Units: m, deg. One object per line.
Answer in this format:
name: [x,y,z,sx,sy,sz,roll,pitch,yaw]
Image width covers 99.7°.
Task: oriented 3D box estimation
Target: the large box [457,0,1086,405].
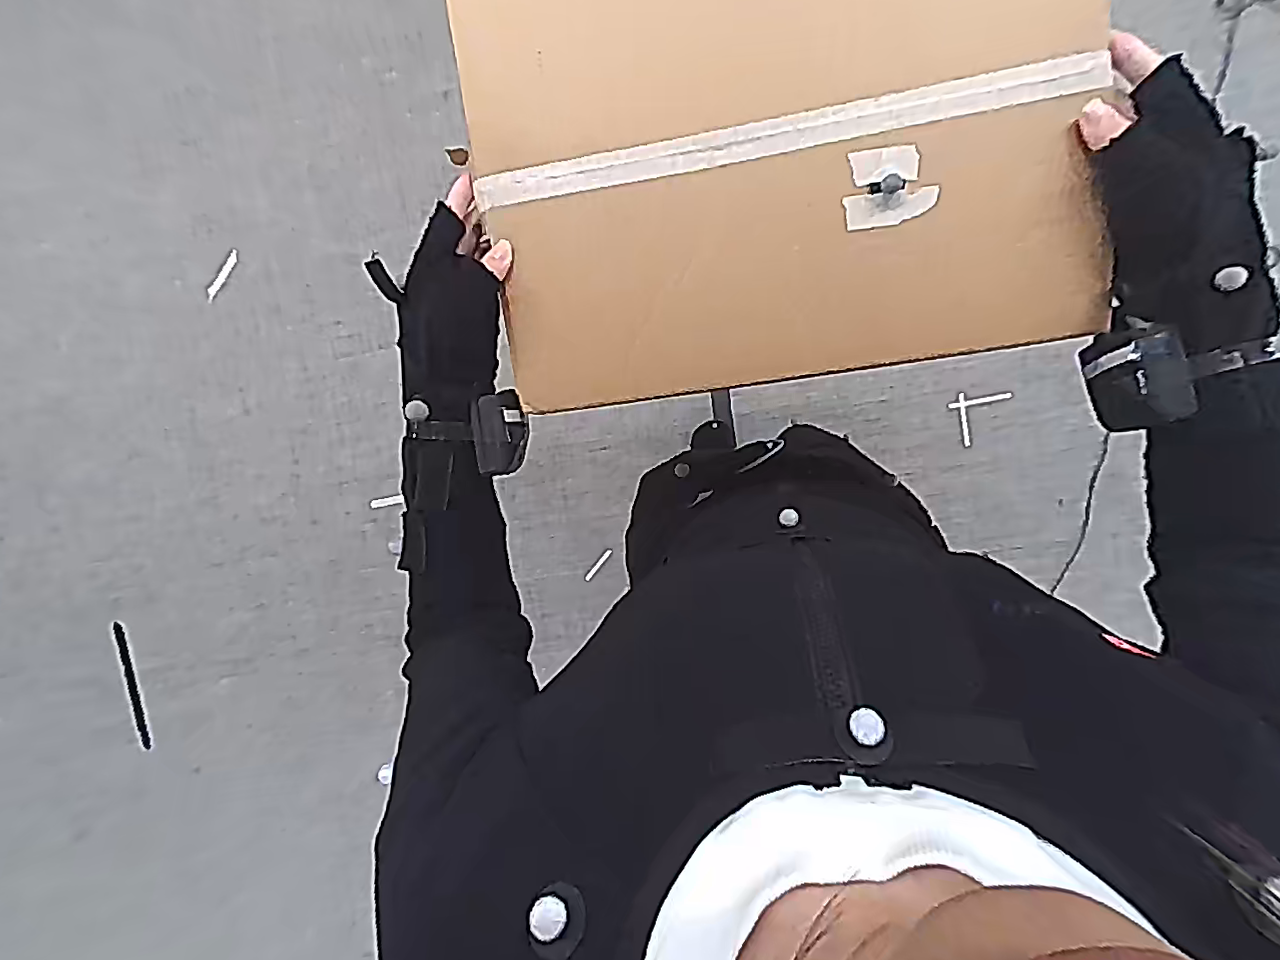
large box: [0.099,-0.259,0.515,0.408,0.320,0.320,-8,100,5]
